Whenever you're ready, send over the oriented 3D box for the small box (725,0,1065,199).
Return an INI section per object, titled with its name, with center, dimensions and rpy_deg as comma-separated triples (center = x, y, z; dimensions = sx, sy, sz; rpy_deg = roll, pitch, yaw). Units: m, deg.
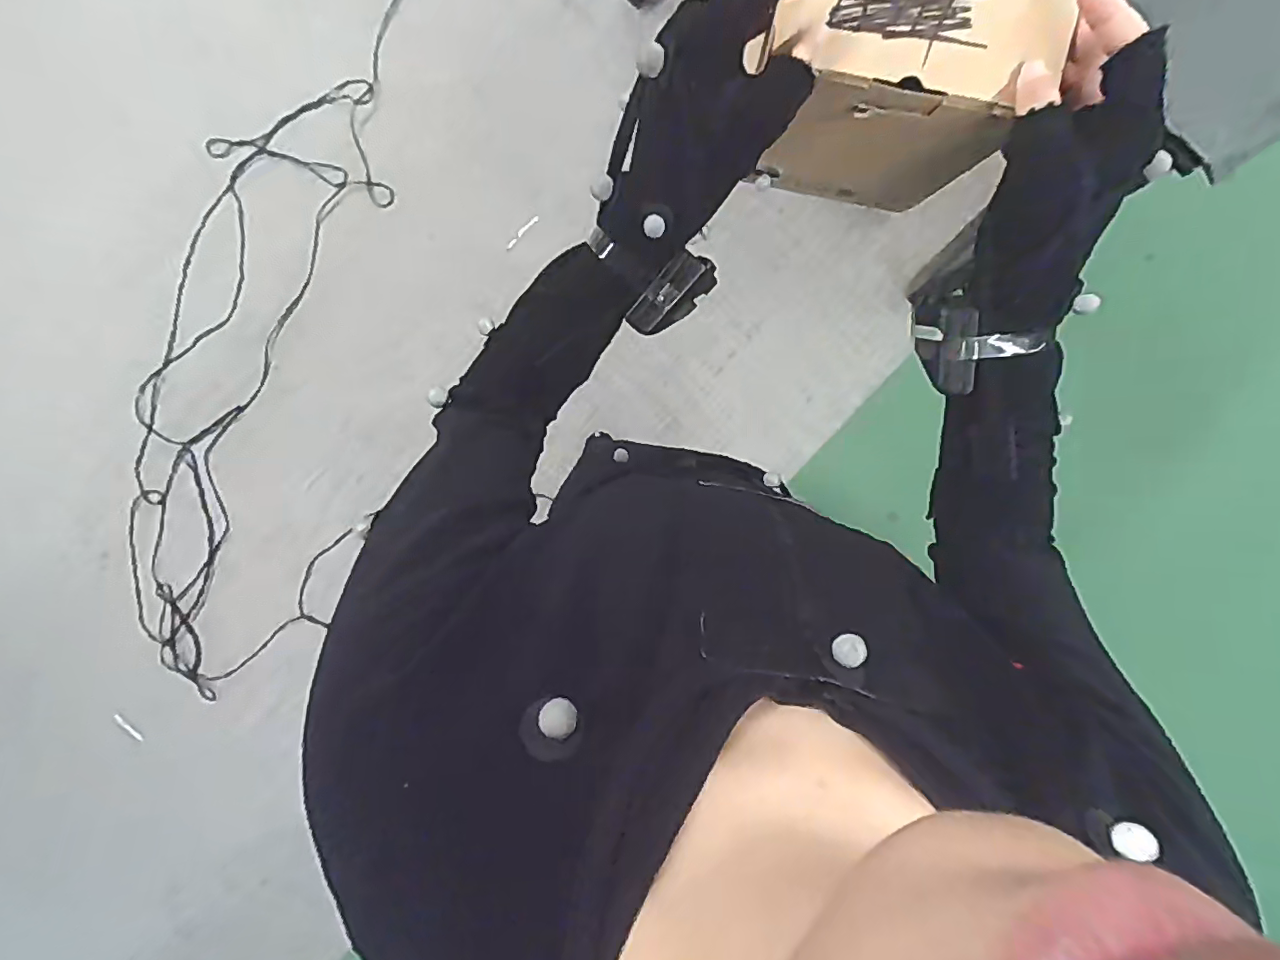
[small box]
center = 0.161, -0.321, 0.372
dimensions = 0.168, 0.176, 0.179
rpy_deg = 10, 98, -2
